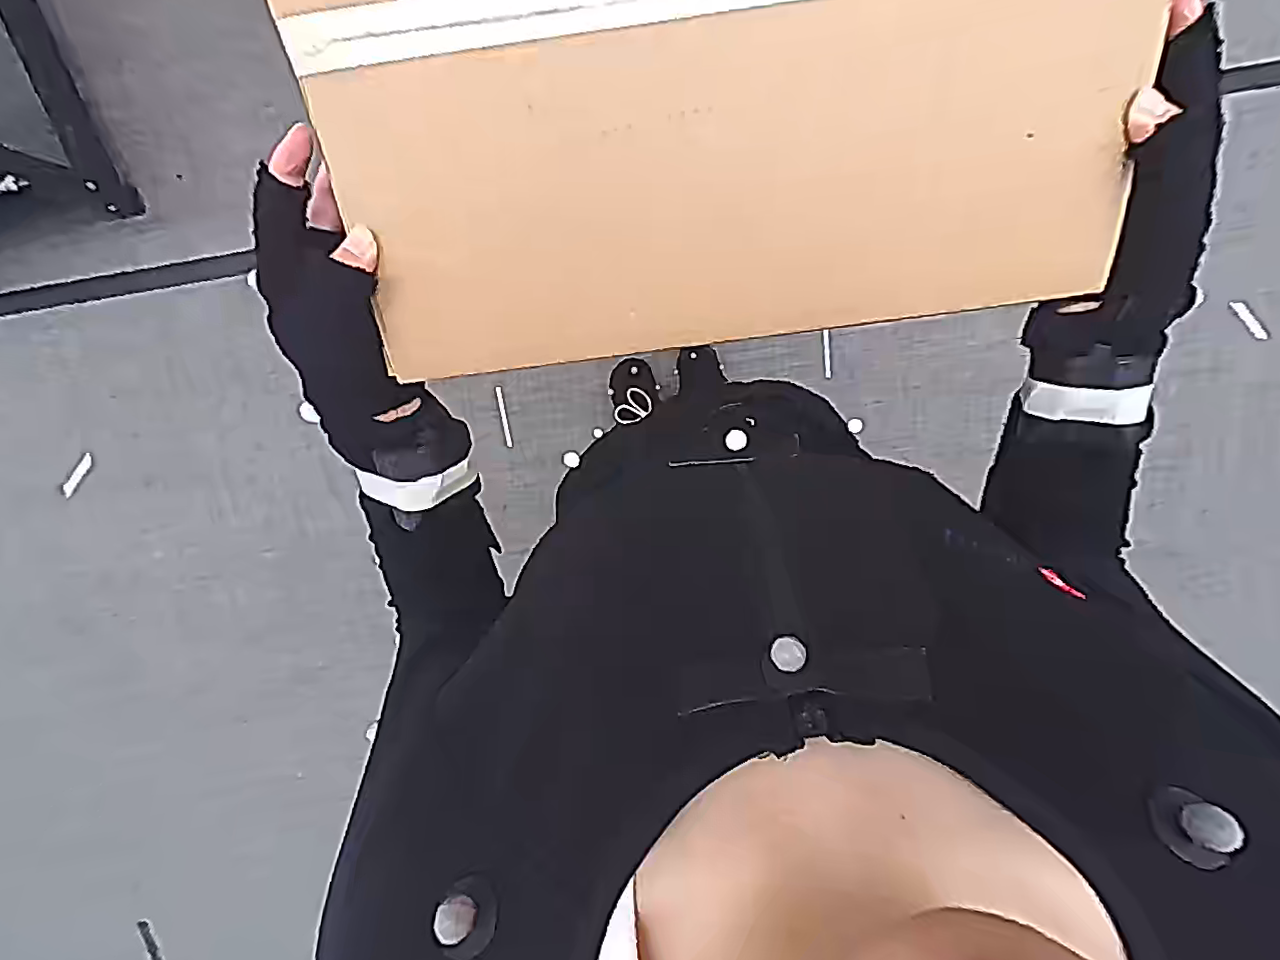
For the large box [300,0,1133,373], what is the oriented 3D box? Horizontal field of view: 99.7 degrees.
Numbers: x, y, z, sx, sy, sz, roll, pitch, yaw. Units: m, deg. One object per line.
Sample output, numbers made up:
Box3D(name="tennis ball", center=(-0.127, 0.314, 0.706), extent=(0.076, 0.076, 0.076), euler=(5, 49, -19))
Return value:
Box3D(name="large box", center=(0.033, -0.287, 0.394), extent=(0.408, 0.320, 0.320), euler=(-7, 114, 1))
